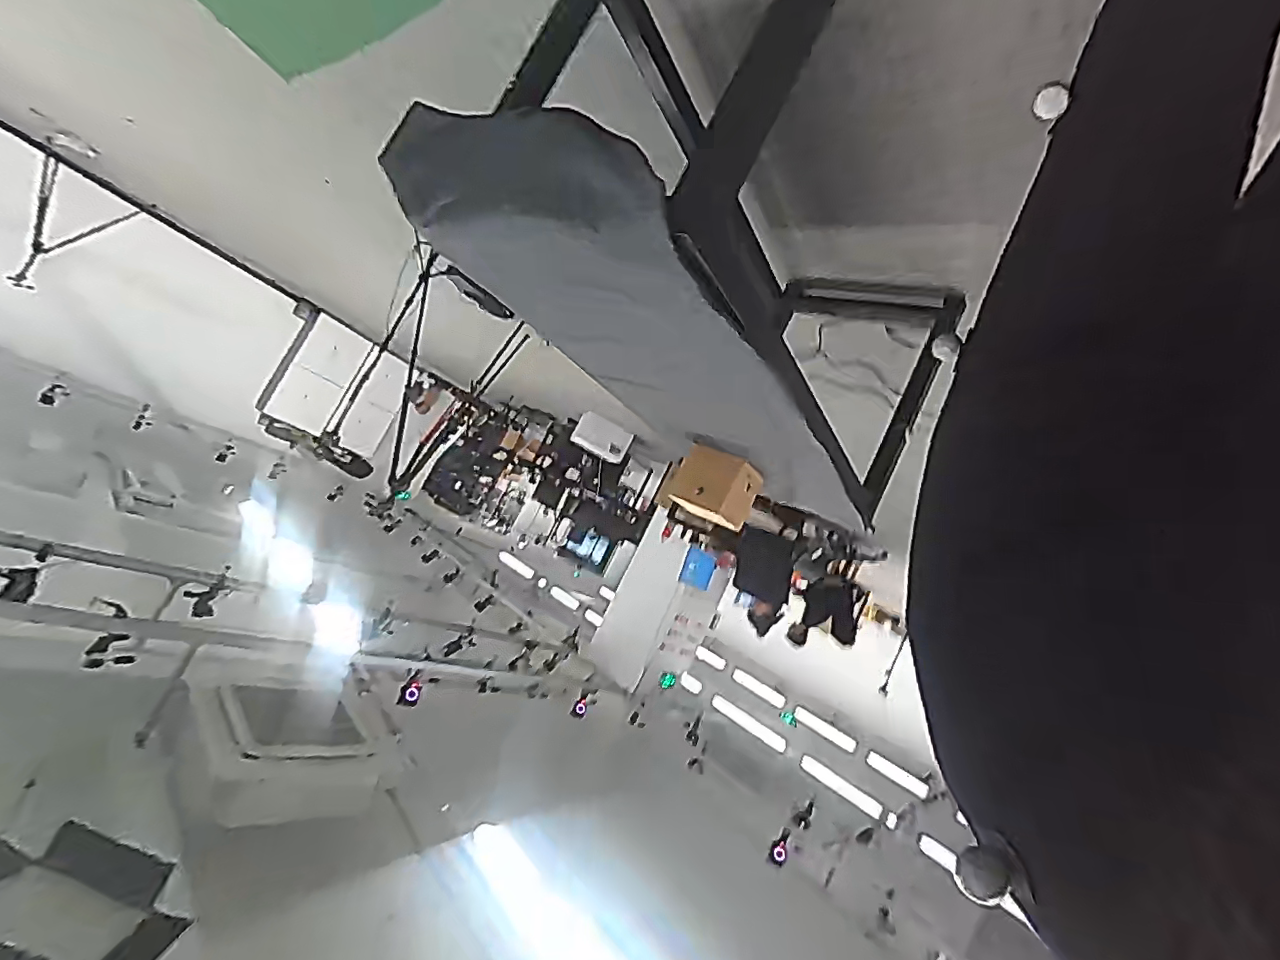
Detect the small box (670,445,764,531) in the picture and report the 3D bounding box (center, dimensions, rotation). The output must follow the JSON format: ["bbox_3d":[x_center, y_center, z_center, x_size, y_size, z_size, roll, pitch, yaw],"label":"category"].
[{"bbox_3d":[0.219,0.017,1.523,0.179,0.176,0.168,21,172,37],"label":"small box"}]
